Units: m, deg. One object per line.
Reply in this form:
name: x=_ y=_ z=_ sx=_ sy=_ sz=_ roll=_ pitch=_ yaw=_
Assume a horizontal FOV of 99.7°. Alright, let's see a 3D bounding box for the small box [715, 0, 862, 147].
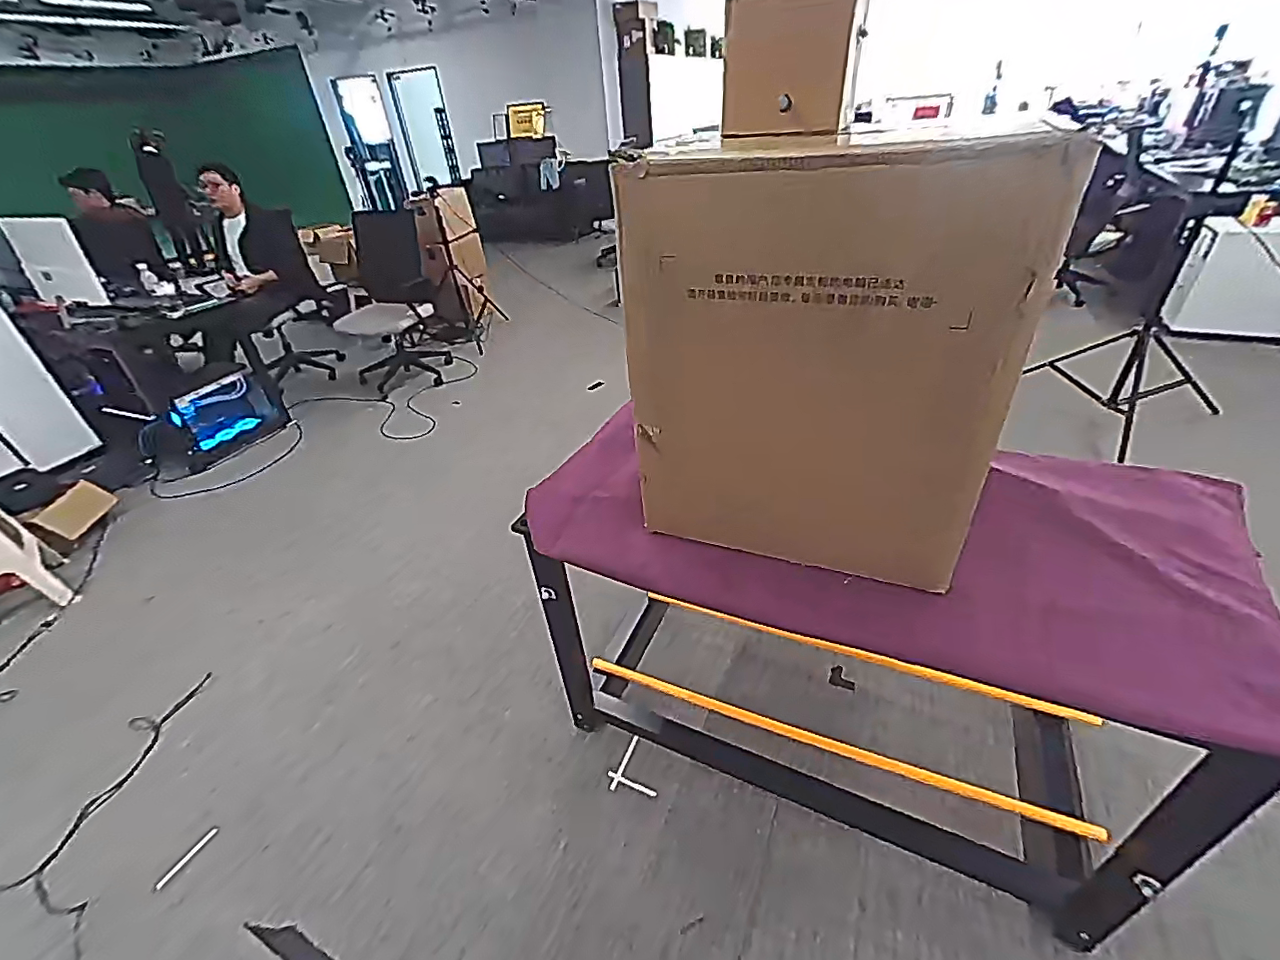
small box: x=0.221 y=-0.608 z=0.812 sx=0.179 sy=0.176 sz=0.168 roll=11 pitch=38 yaw=22
